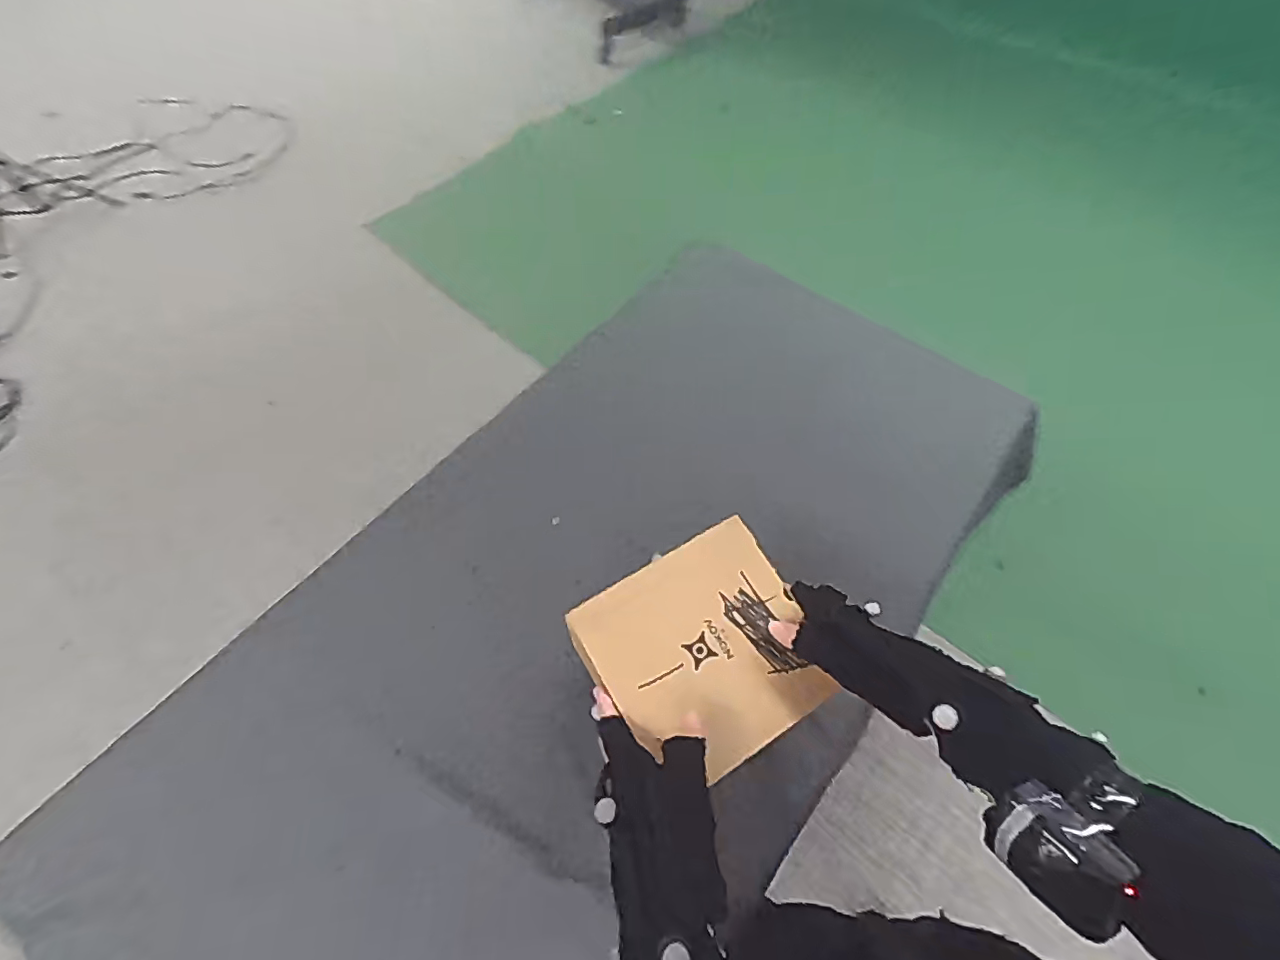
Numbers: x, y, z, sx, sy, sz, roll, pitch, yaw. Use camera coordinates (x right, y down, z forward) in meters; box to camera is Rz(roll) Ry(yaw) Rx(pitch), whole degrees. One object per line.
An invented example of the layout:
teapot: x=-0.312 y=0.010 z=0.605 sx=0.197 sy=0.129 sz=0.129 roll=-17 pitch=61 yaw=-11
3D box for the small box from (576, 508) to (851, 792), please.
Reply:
small box: x=0.052 y=0.155 z=0.510 sx=0.179 sy=0.176 sz=0.168 roll=-26 pitch=71 yaw=-14
